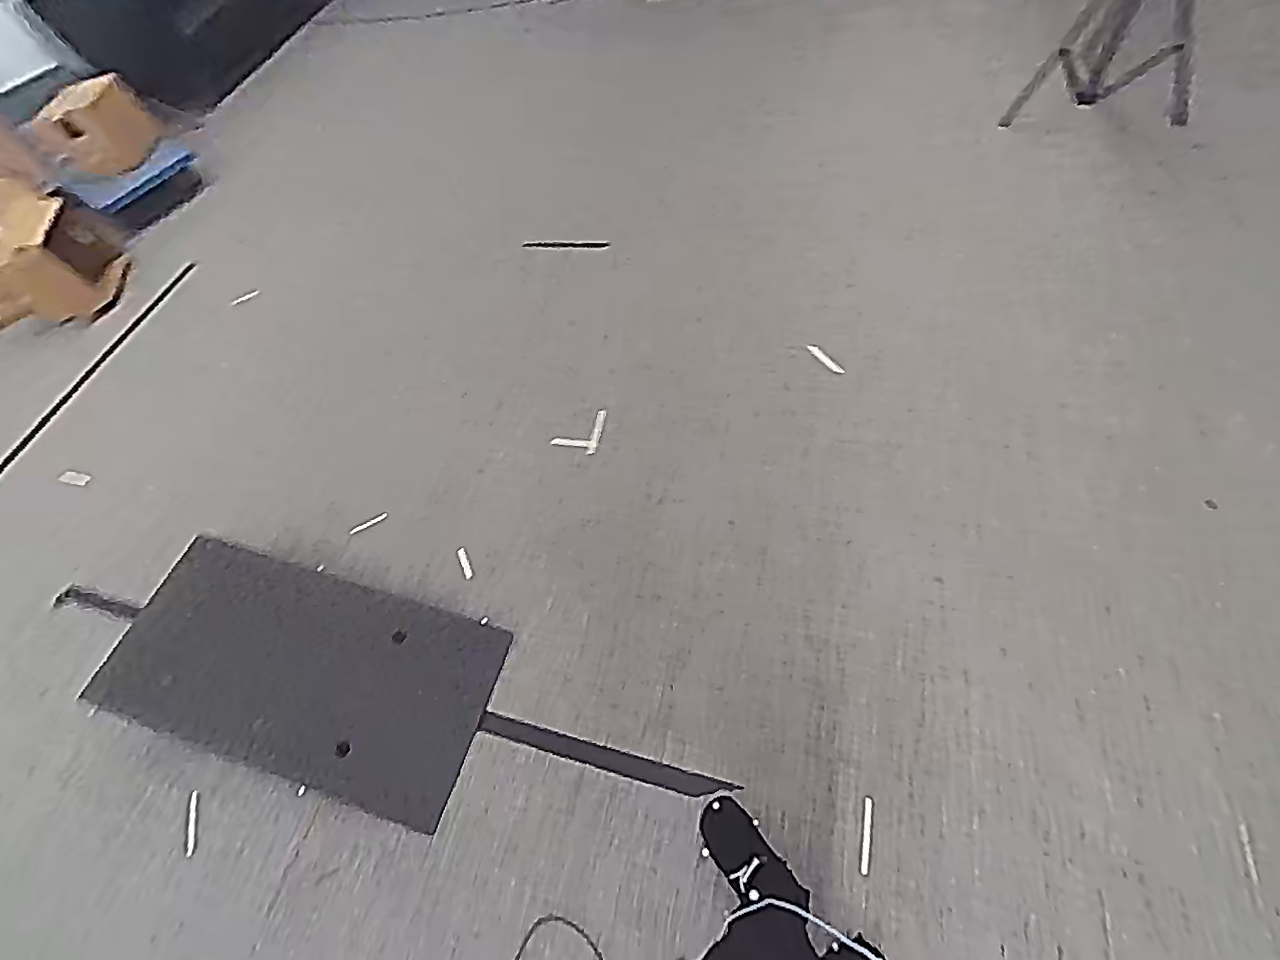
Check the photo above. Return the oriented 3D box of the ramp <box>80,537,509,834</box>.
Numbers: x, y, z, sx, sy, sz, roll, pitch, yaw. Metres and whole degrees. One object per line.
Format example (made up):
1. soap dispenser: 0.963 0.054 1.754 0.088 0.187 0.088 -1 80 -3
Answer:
1. ramp: -0.896 0.501 1.438 0.991 0.206 0.509 9 61 15
